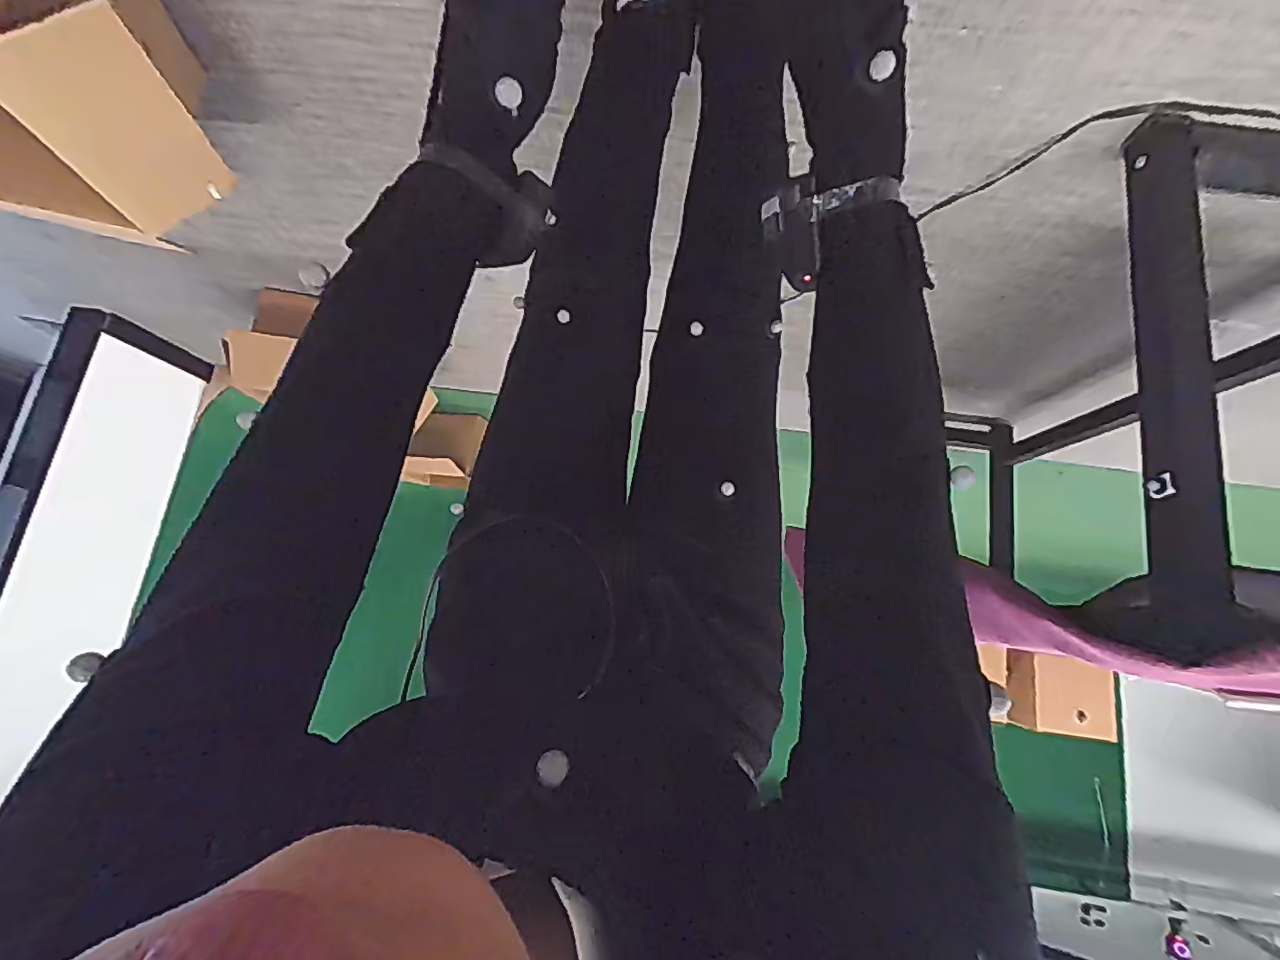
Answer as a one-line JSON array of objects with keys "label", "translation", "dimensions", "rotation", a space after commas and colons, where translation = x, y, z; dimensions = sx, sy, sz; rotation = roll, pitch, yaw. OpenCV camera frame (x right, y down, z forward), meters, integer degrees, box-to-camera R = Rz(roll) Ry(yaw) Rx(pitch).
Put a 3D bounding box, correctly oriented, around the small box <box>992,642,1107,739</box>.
[{"label": "small box", "translation": [0.933, 0.482, 1.258], "dimensions": [0.179, 0.176, 0.168], "rotation": [9, 168, 0]}]
